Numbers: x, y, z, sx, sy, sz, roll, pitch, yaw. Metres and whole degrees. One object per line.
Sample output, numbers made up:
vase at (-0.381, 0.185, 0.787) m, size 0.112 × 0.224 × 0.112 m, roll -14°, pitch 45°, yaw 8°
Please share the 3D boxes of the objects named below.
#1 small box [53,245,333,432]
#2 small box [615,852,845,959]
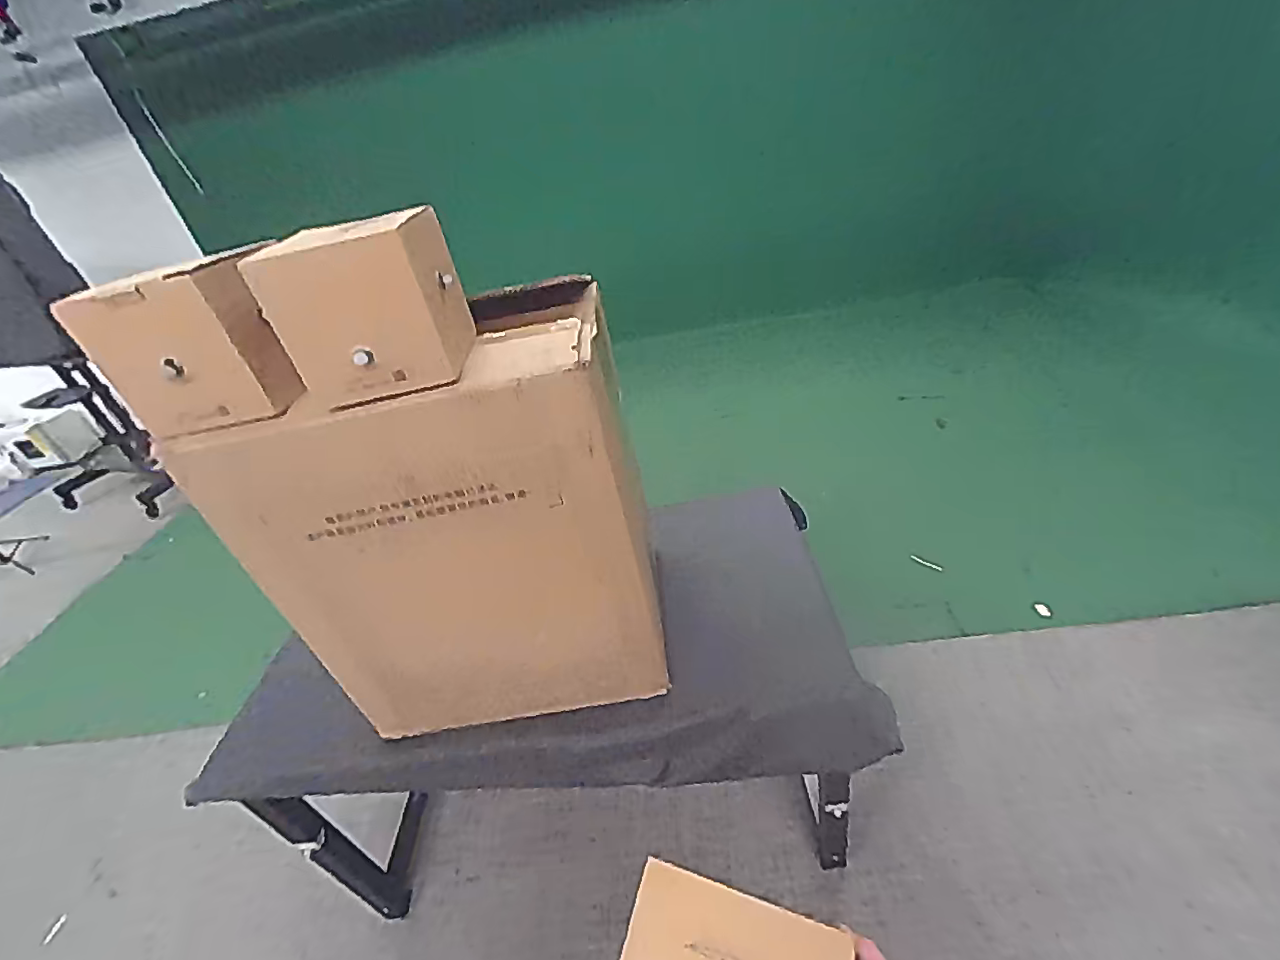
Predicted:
small box at (-0.525, -0.171, 0.673) m, size 0.168 × 0.176 × 0.179 m, roll -10°, pitch 34°, yaw 5°
small box at (0.069, 0.443, 0.438) m, size 0.168 × 0.176 × 0.179 m, roll 6°, pitch 49°, yaw 21°
